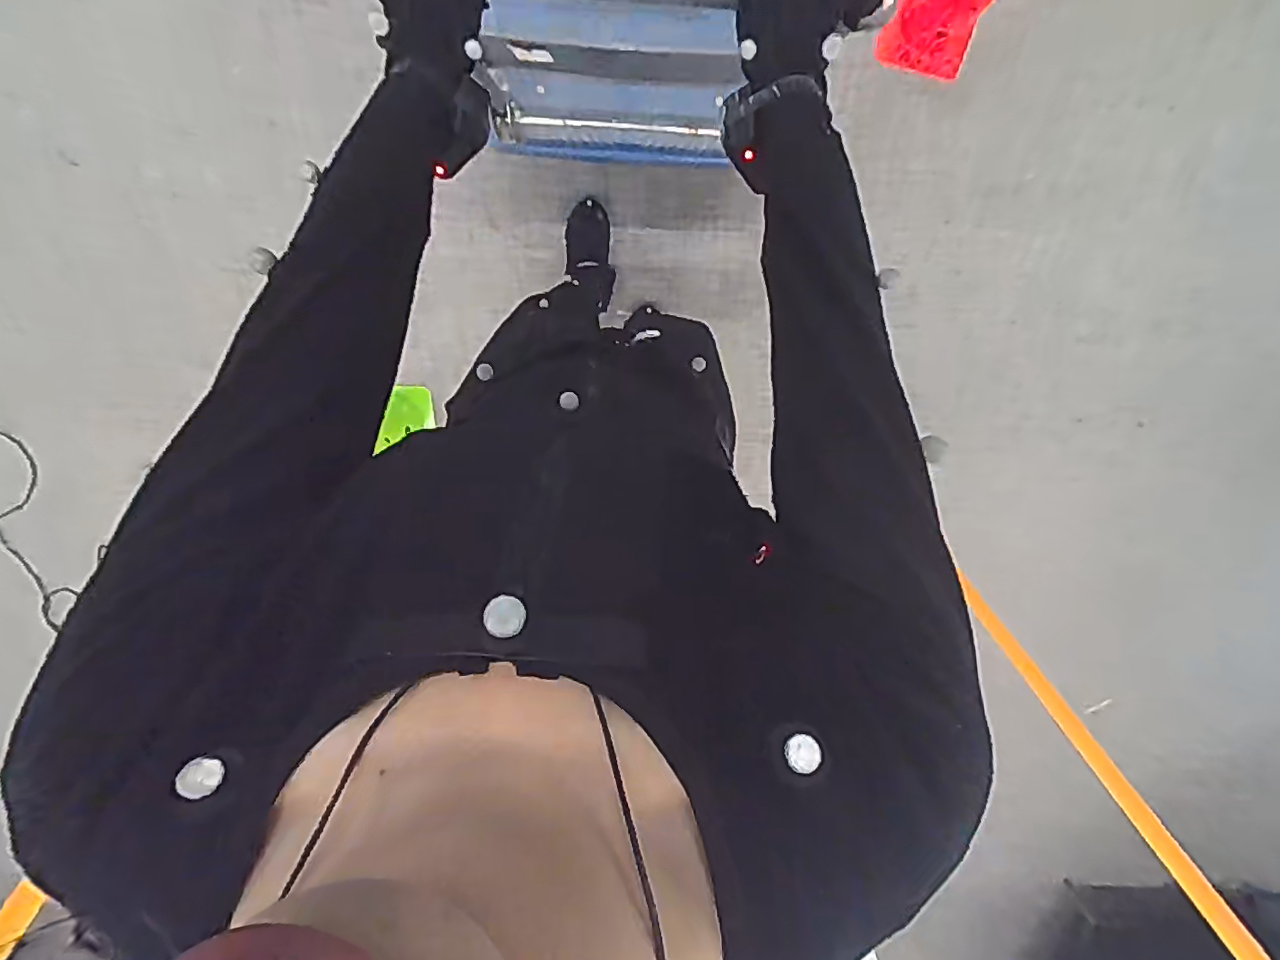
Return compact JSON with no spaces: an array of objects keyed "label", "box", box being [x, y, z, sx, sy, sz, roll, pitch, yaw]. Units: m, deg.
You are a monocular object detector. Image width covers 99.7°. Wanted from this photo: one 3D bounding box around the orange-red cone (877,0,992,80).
[{"label":"orange-red cone","box":[0.628,-0.921,0.996,0.198,0.360,0.199,13,113,-5]}]
